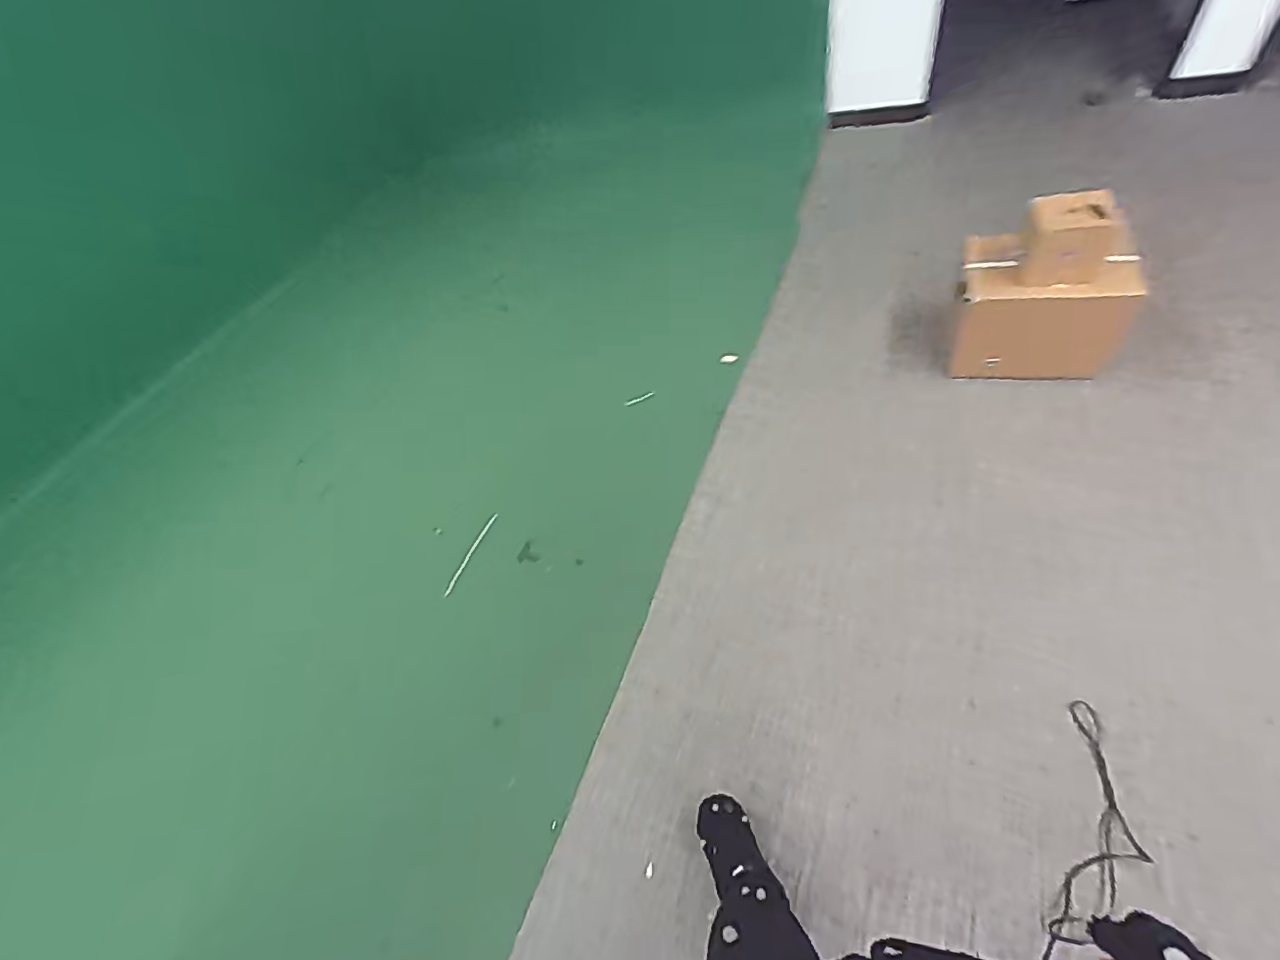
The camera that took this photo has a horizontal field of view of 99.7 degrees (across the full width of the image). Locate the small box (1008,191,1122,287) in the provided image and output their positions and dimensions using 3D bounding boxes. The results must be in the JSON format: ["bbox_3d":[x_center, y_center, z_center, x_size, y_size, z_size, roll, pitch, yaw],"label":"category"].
[{"bbox_3d":[1.136,-0.646,1.461,0.179,0.176,0.168,1,55,16],"label":"small box"}]
